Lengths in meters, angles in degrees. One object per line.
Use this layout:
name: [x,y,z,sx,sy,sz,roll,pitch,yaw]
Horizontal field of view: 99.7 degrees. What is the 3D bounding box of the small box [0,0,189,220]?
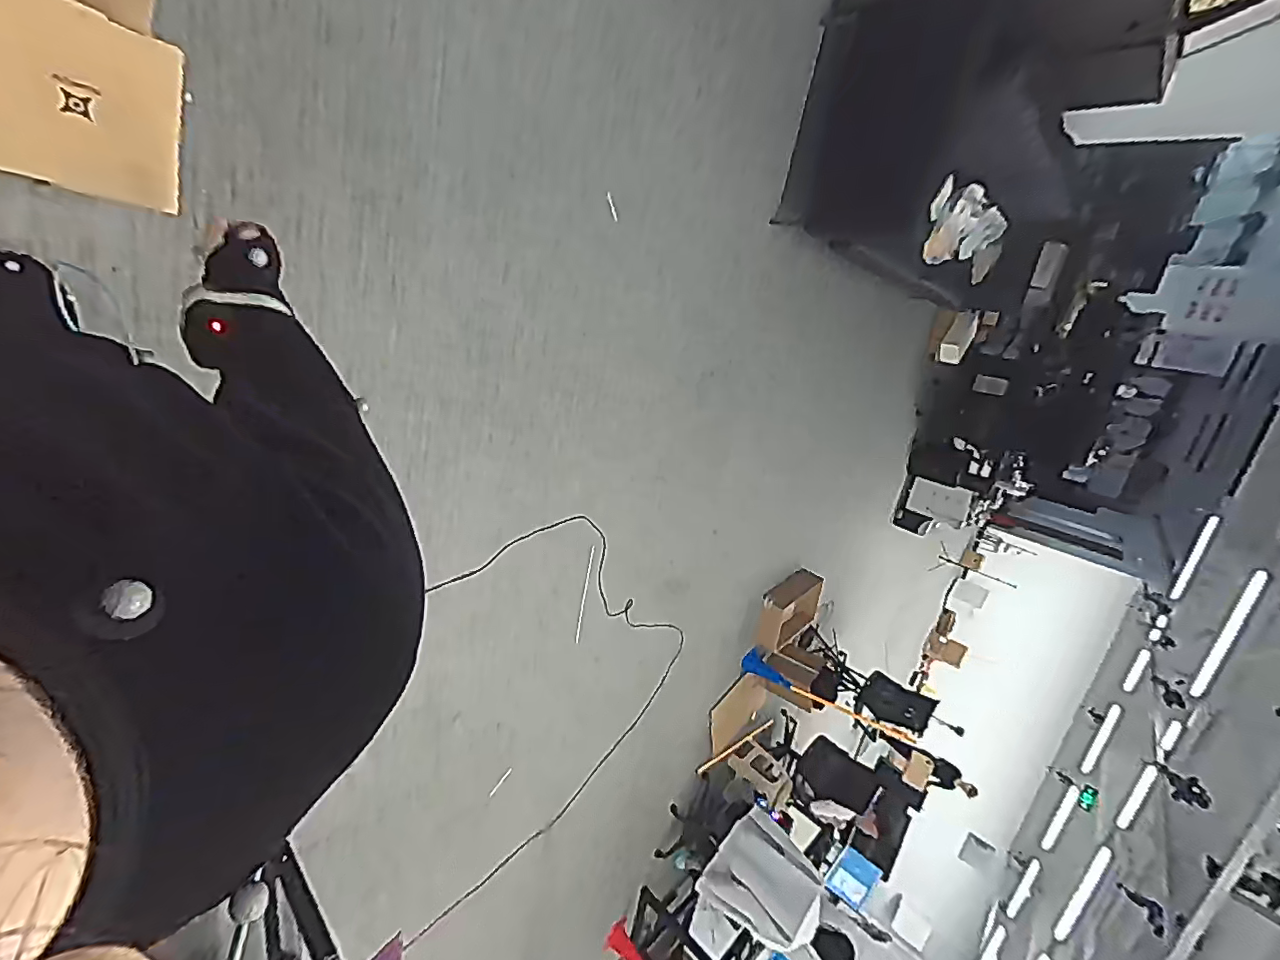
small box: [-0.632,-0.412,0.610,0.168,0.176,0.179,-3,111,-48]
